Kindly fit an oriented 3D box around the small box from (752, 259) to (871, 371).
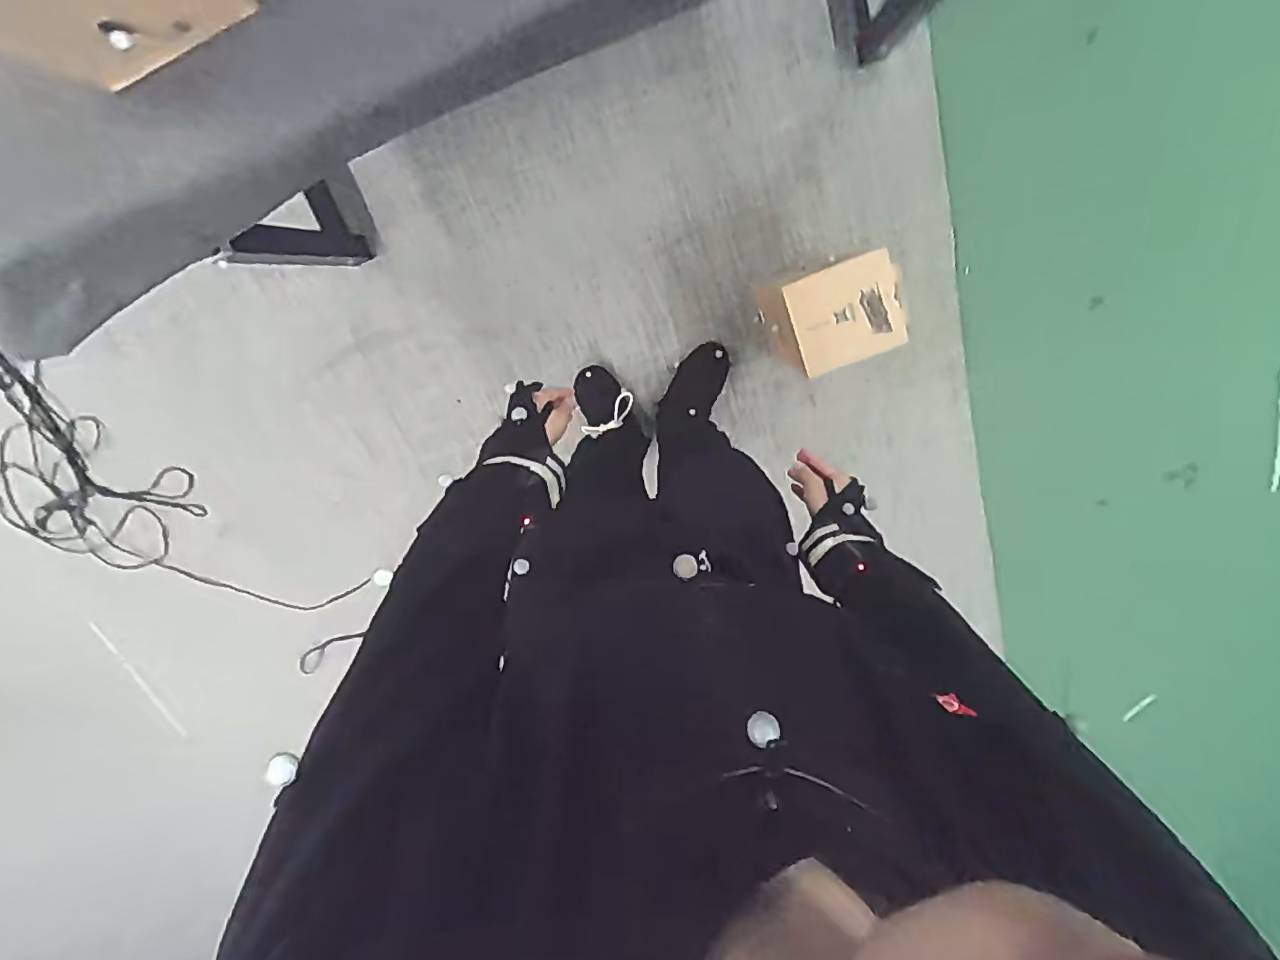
[{"bbox_3d":[0.350,-0.345,1.125,0.179,0.176,0.168,-20,107,10],"label":"small box"}]
